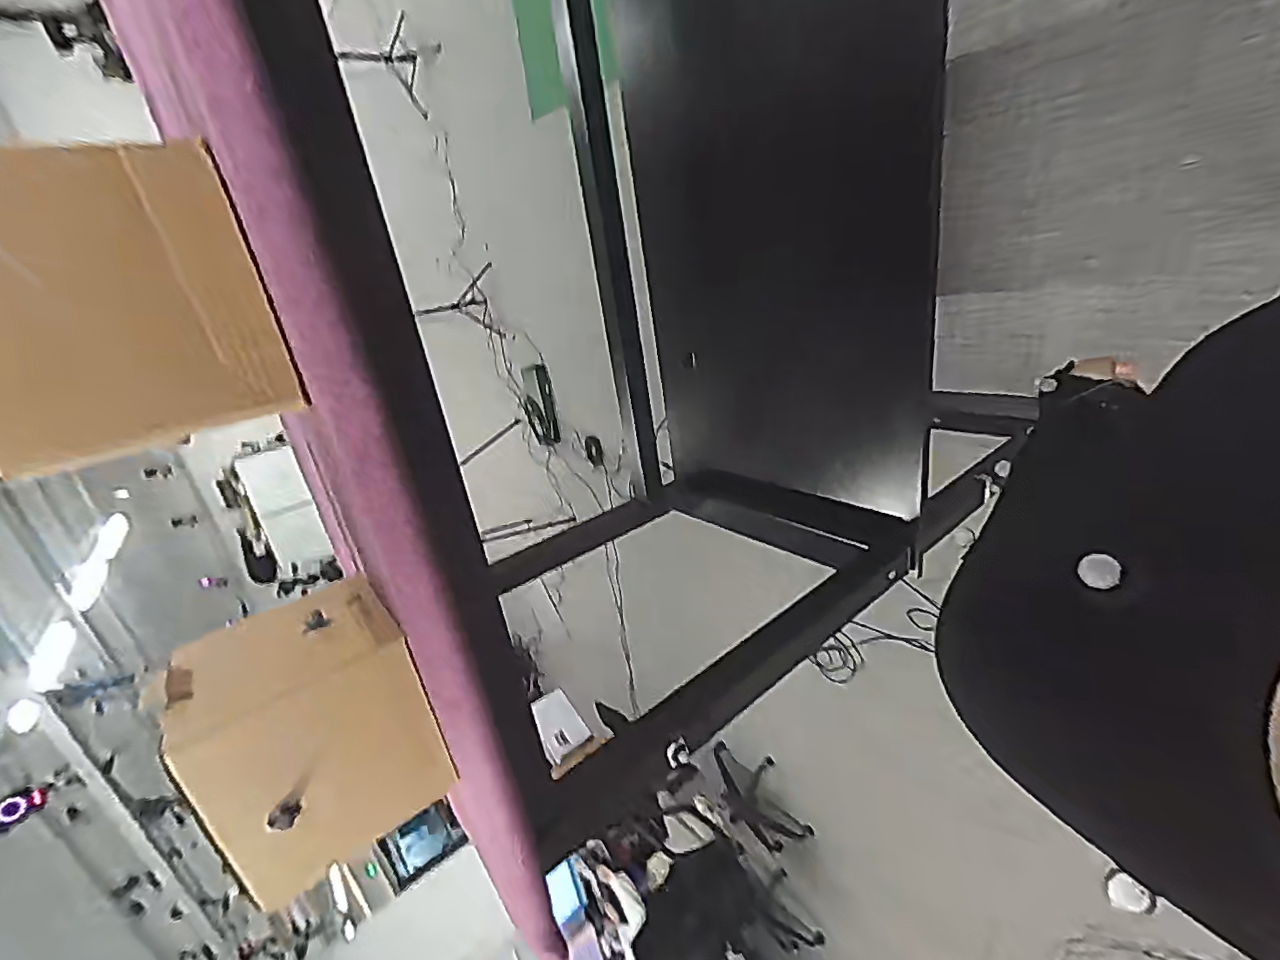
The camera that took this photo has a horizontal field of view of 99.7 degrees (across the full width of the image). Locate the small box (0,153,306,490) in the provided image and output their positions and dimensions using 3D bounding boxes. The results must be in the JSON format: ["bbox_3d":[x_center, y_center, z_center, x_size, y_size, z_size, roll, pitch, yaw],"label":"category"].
[{"bbox_3d":[-0.365,-0.116,0.389,0.168,0.176,0.179,19,125,52],"label":"small box"}]

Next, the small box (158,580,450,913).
[{"bbox_3d":[-0.297,0.223,0.500,0.168,0.176,0.179,16,123,50],"label":"small box"}]
